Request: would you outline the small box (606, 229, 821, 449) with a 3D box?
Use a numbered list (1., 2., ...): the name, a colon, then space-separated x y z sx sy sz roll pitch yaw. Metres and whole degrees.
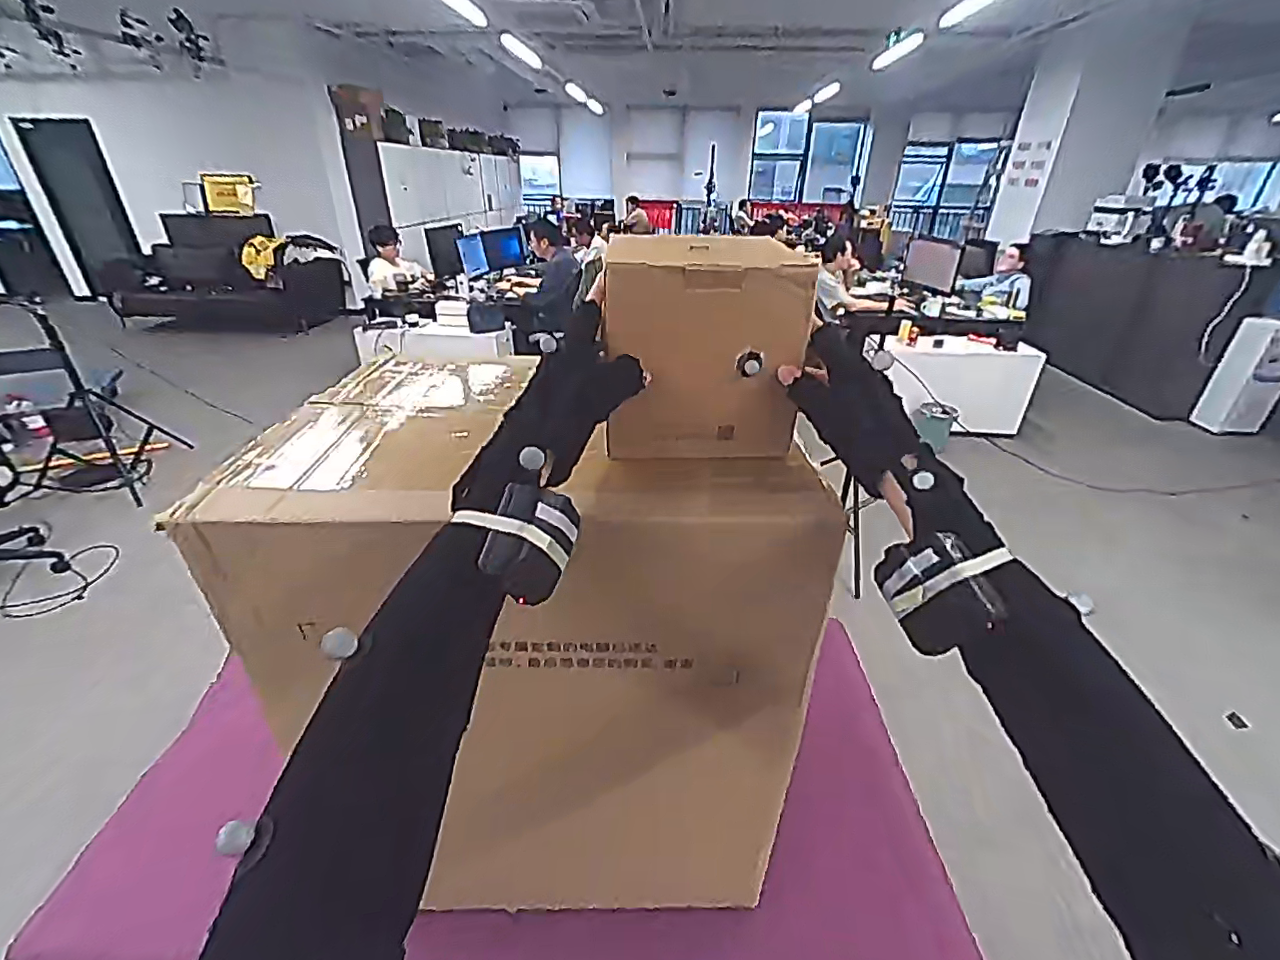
1. small box: 0.054 -0.138 0.514 0.168 0.176 0.179 1 30 -2
